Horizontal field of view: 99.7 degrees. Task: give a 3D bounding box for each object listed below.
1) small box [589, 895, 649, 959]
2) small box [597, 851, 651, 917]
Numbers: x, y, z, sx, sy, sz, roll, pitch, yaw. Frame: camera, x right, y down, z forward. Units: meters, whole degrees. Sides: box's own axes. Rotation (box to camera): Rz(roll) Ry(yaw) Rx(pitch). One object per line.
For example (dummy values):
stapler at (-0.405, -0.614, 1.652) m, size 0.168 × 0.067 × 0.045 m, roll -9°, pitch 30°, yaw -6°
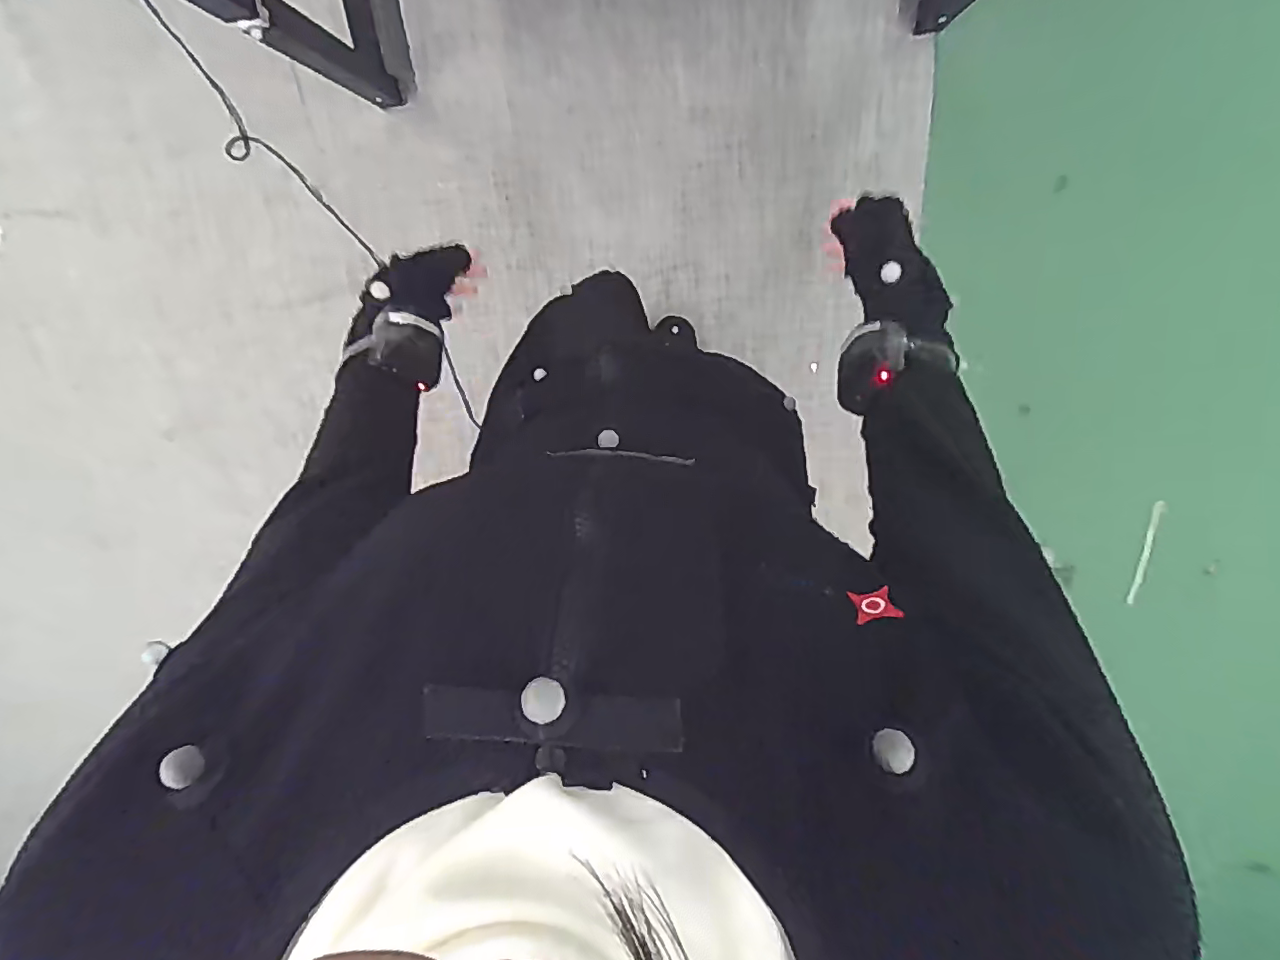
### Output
small box at (-0.065, 1.543, 1.828) m, size 0.179 × 0.176 × 0.168 m, roll -5°, pitch 110°, yaw 5°
small box at (-0.054, 1.495, 1.982) m, size 0.179 × 0.176 × 0.168 m, roll -4°, pitch 112°, yaw 4°
